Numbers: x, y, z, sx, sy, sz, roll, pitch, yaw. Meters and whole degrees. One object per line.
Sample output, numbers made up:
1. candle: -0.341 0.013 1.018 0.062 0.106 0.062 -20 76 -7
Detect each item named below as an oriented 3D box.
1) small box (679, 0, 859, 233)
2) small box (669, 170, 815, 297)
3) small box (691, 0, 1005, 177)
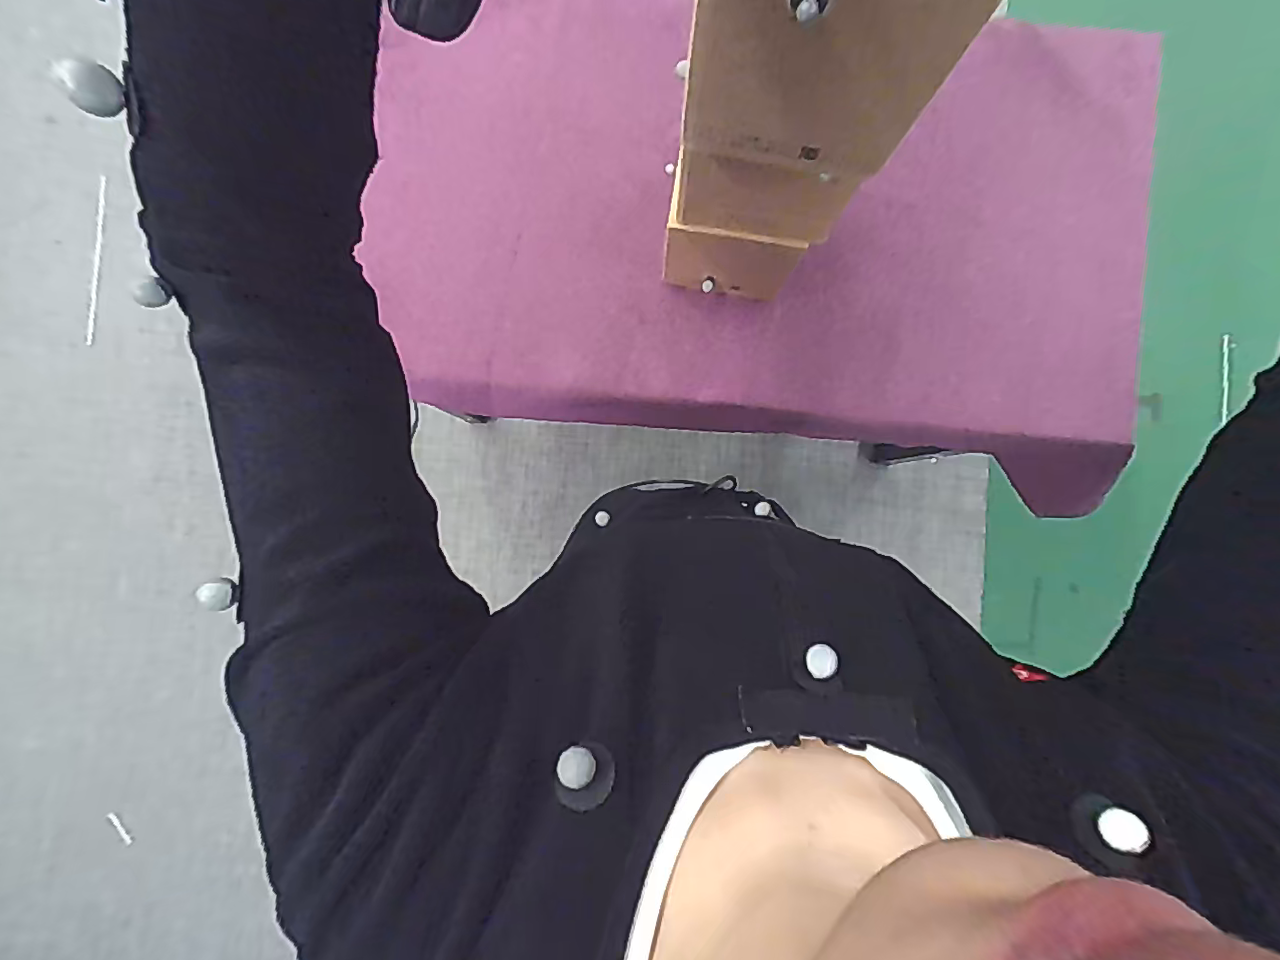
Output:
1. small box: 0.136 -0.366 0.531 0.179 0.176 0.168 8 88 1
2. small box: 0.130 -0.360 0.692 0.168 0.176 0.179 10 89 1
3. small box: 0.132 -0.349 0.366 0.168 0.176 0.179 11 87 1
